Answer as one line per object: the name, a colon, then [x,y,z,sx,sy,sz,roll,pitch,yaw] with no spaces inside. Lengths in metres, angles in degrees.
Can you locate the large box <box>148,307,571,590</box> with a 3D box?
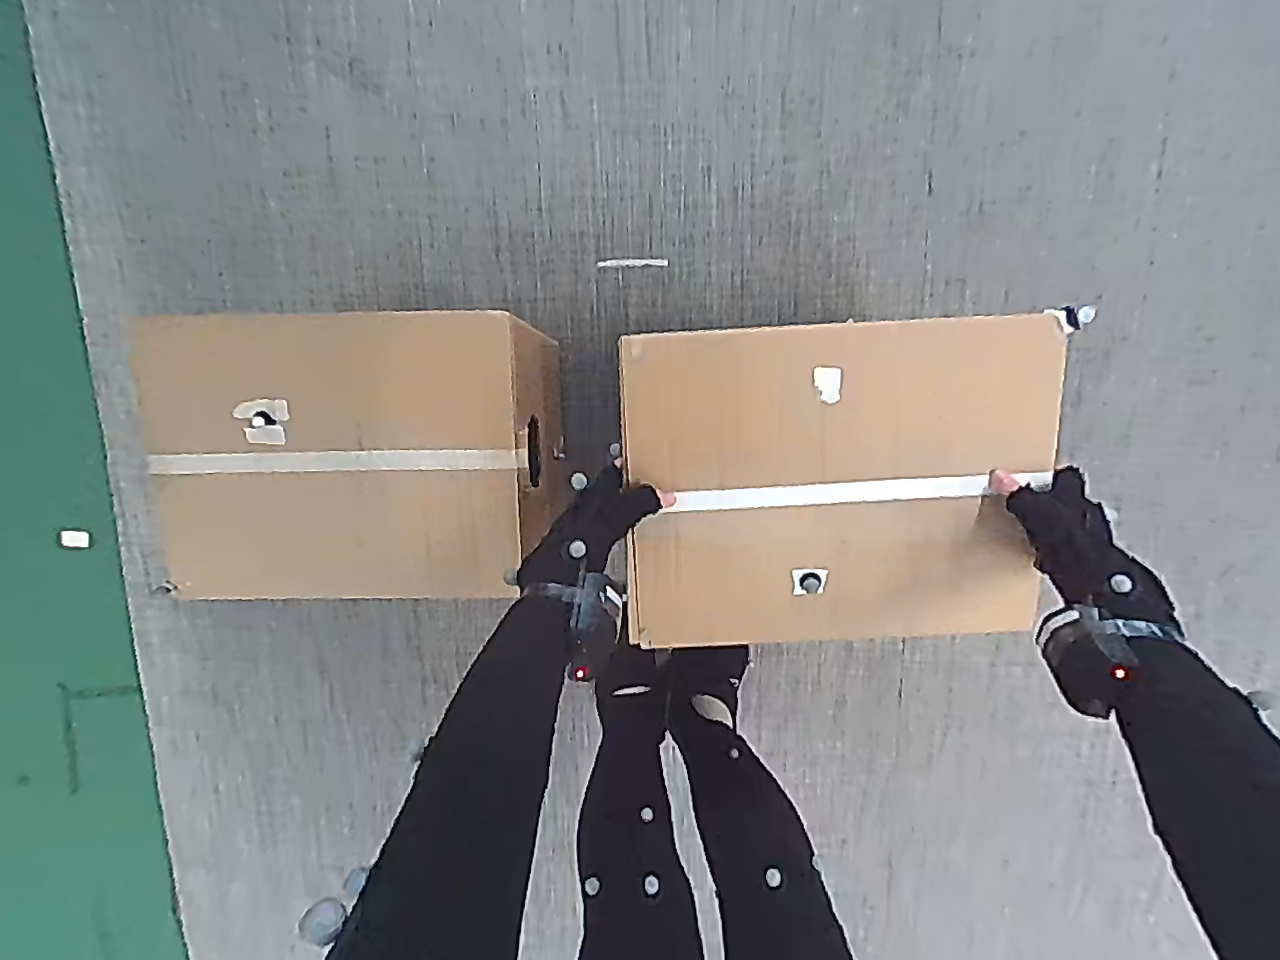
large box: [-0.321,-0.051,0.740,0.408,0.320,0.320,0,99,2]
